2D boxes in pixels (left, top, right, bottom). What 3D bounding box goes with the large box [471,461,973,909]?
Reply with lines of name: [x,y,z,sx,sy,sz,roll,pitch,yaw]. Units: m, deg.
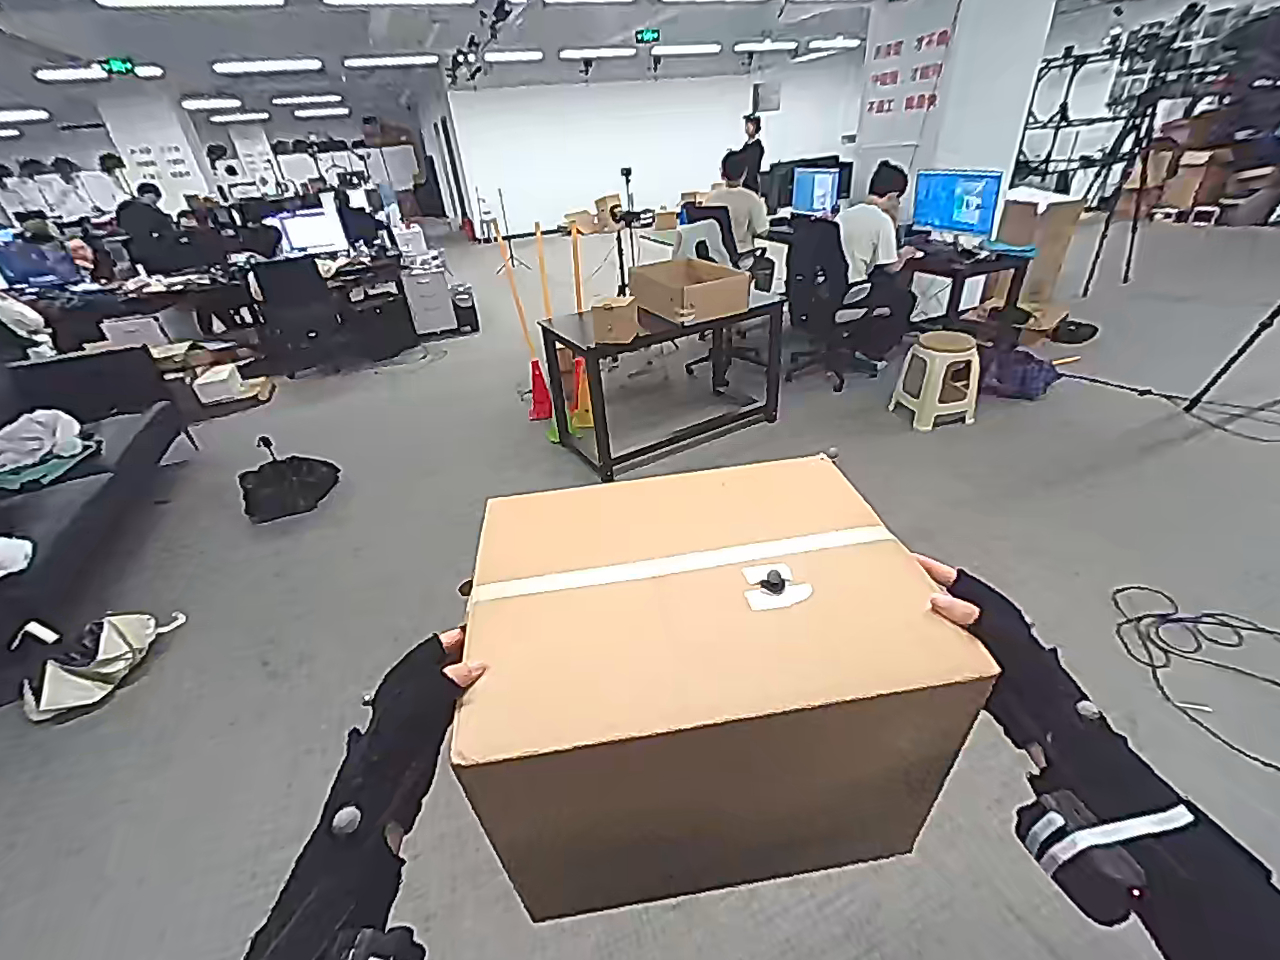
large box: [0.055,0.209,0.610,0.408,0.320,0.320,-7,35,-5]
